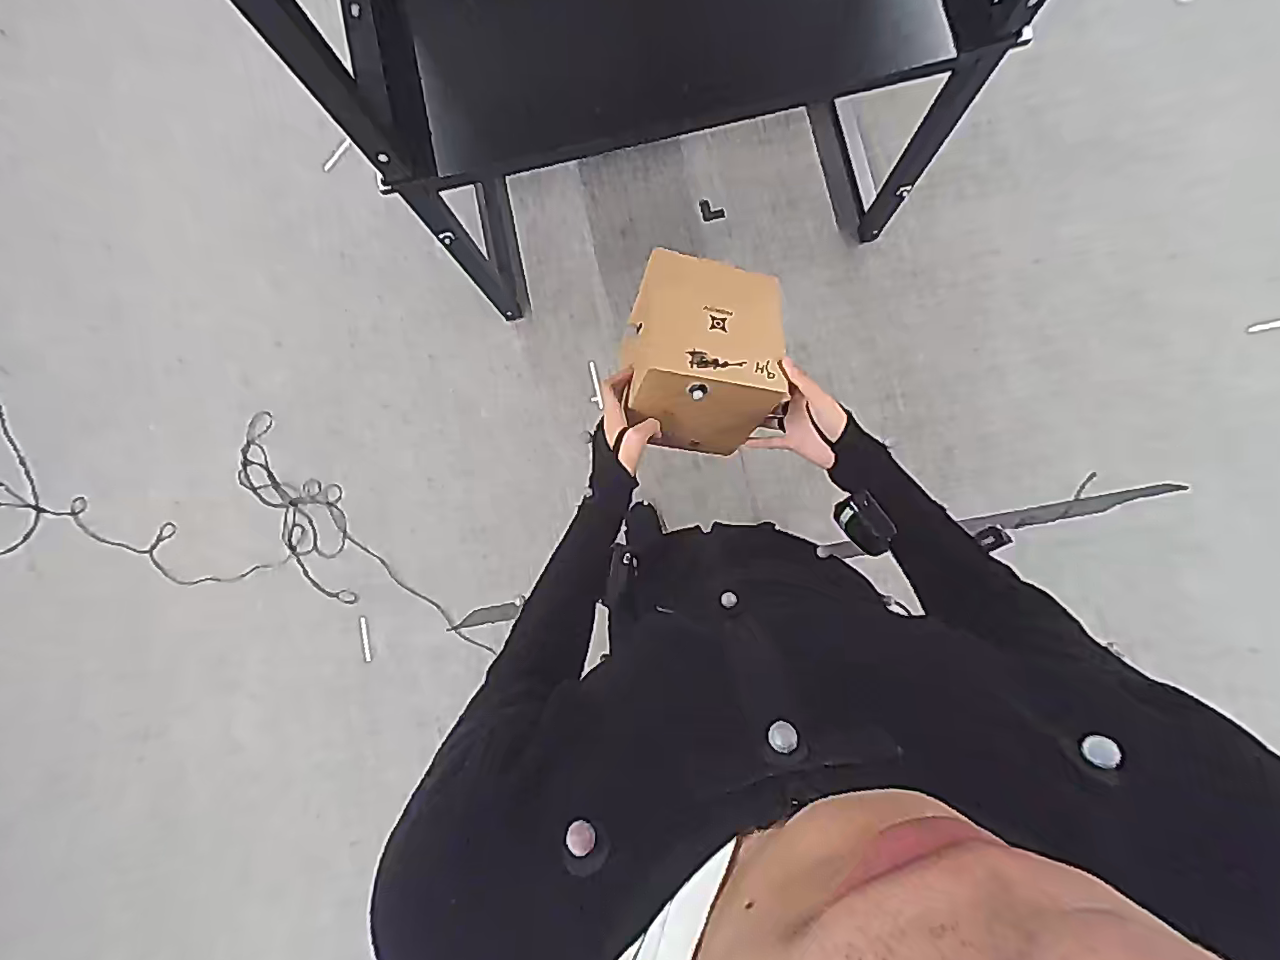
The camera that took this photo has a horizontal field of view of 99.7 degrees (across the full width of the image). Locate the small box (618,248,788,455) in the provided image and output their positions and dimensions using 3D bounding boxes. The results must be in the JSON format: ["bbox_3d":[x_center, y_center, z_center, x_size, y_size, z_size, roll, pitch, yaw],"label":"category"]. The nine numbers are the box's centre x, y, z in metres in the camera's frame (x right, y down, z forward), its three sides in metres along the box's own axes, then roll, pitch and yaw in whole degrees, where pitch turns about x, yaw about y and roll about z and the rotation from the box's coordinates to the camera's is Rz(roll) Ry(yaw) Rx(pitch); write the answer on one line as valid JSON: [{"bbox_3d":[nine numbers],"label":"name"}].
[{"bbox_3d":[0.071,-0.154,0.691,0.168,0.176,0.179,8,65,-11],"label":"small box"}]
